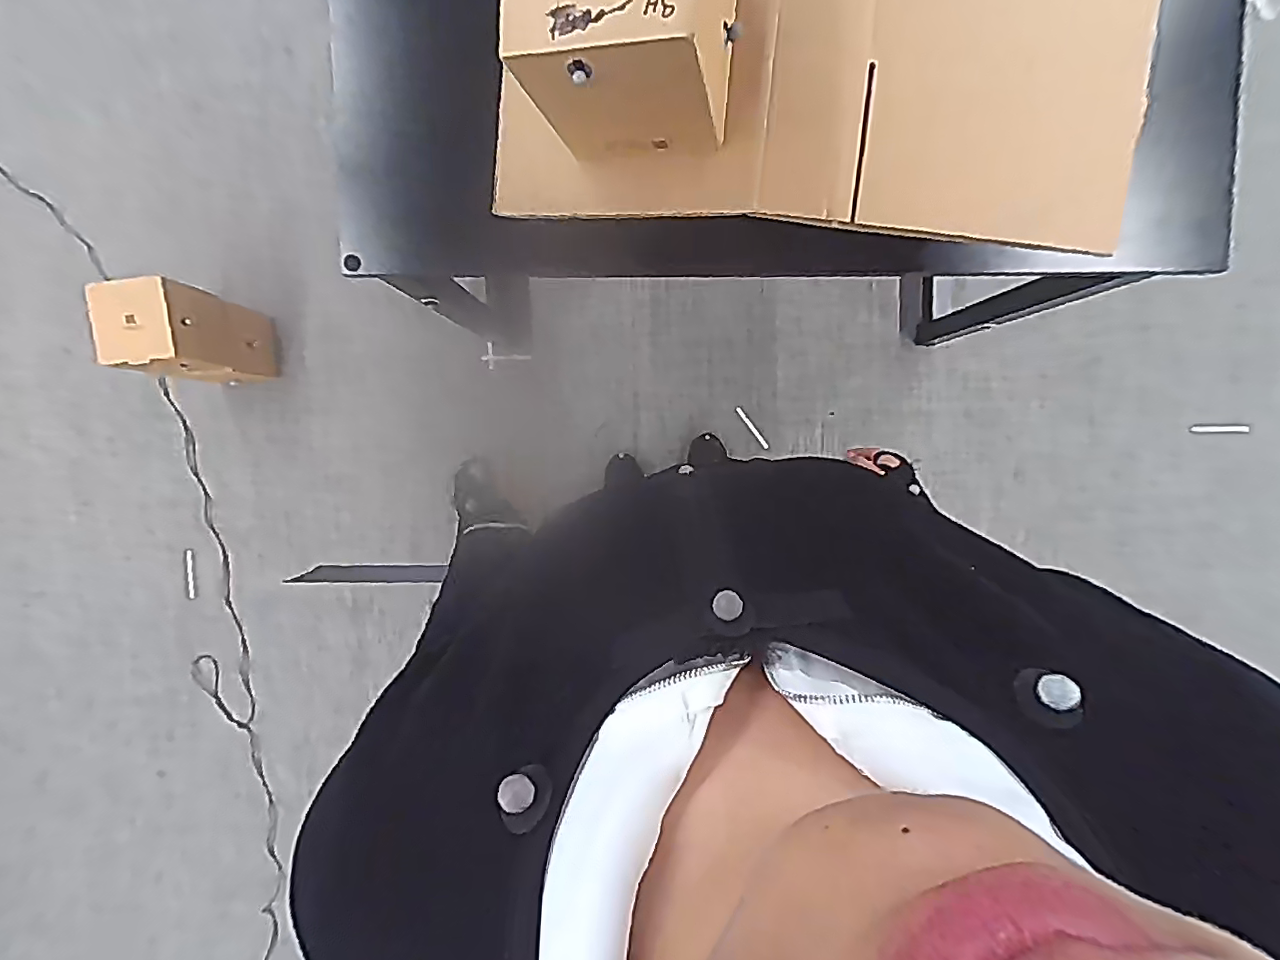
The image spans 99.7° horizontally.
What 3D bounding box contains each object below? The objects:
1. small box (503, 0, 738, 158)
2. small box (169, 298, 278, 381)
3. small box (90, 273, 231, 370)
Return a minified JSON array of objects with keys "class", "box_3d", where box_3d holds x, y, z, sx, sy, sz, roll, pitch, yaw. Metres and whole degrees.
[{"class":"small box","box_3d":[-0.005,-0.431,0.495,0.168,0.176,0.179,6,94,16]},{"class":"small box","box_3d":[-1.074,-0.357,1.394,0.168,0.176,0.179,-4,95,1]},{"class":"small box","box_3d":[-1.077,-0.350,1.232,0.168,0.176,0.179,-7,93,0]}]
